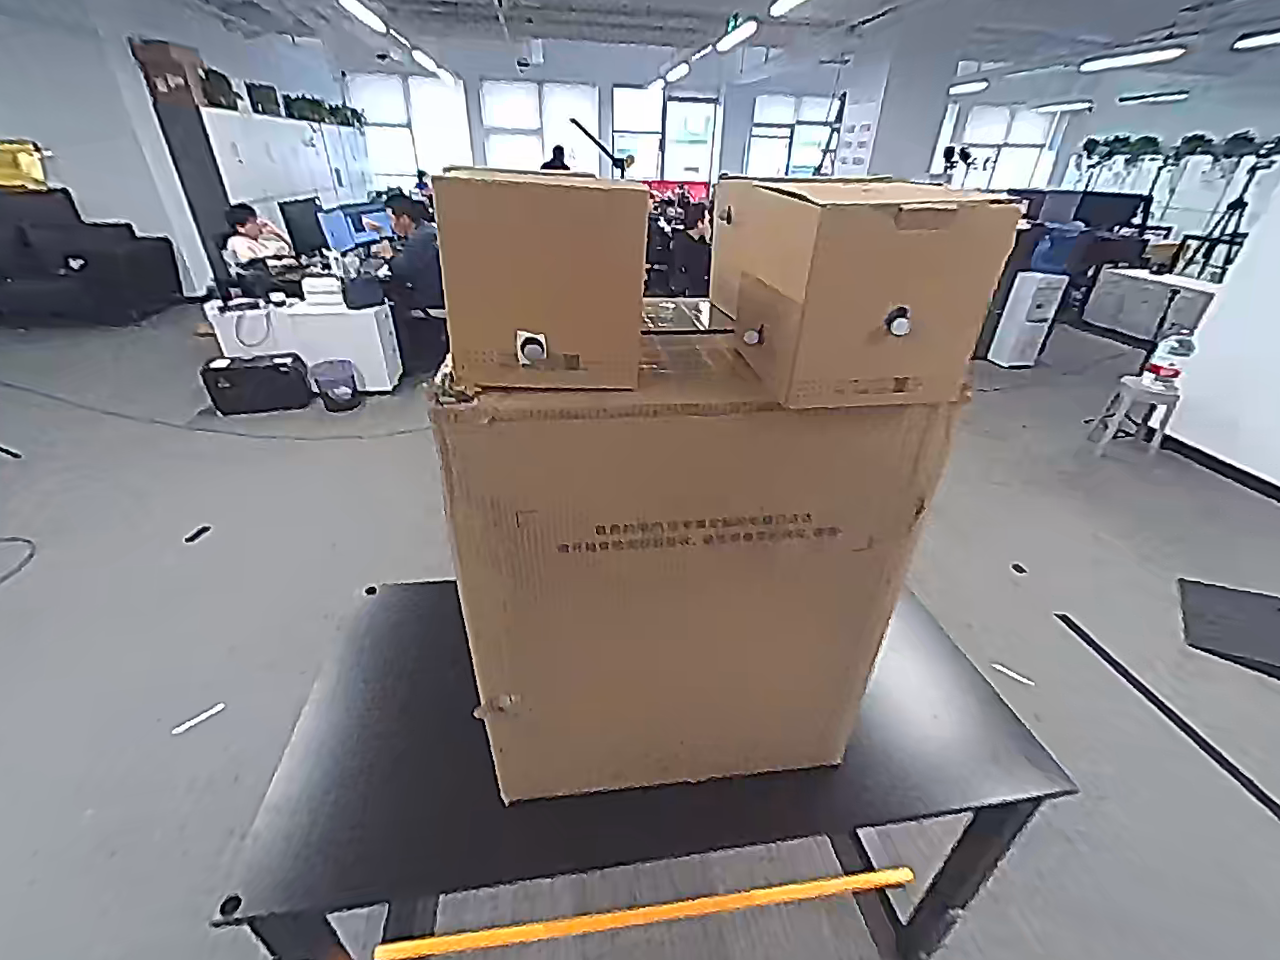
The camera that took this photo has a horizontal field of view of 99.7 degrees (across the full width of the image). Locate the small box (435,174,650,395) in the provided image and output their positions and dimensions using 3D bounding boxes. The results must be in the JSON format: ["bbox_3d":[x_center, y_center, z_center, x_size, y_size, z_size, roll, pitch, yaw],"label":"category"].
[{"bbox_3d":[-0.088,-0.192,0.522,0.168,0.176,0.179,-2,32,-9],"label":"small box"}]

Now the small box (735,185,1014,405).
[{"bbox_3d":[0.198,-0.178,0.519,0.168,0.176,0.179,-4,34,-7],"label":"small box"}]

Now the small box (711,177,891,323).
[{"bbox_3d":[0.197,-0.304,0.722,0.168,0.176,0.179,-5,29,-7],"label":"small box"}]
